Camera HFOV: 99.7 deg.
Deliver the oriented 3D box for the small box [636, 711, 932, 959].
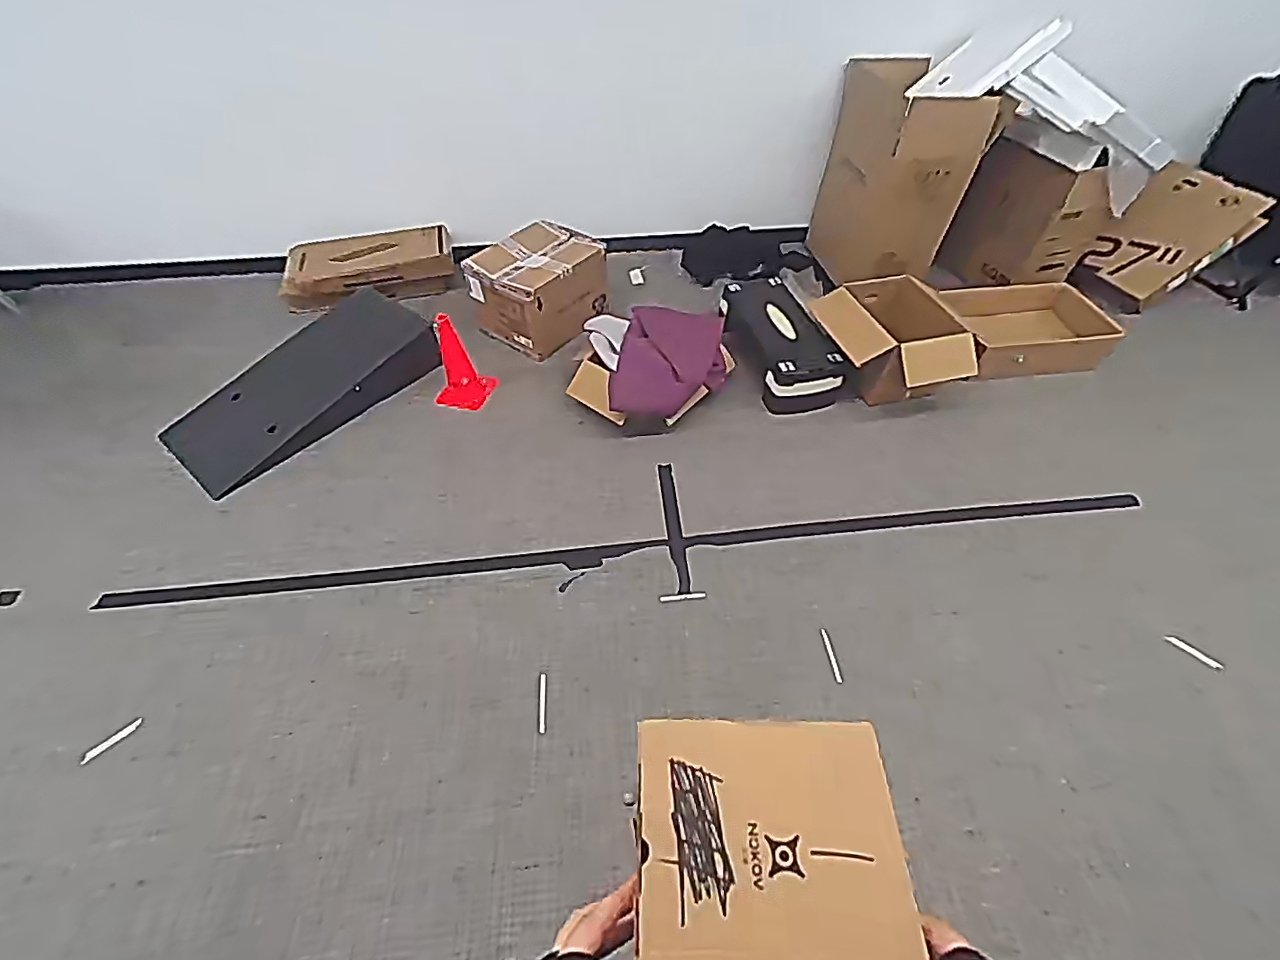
[{"bbox_3d":[0.087,0.288,0.417,0.179,0.176,0.168,1,52,0],"label":"small box"}]
